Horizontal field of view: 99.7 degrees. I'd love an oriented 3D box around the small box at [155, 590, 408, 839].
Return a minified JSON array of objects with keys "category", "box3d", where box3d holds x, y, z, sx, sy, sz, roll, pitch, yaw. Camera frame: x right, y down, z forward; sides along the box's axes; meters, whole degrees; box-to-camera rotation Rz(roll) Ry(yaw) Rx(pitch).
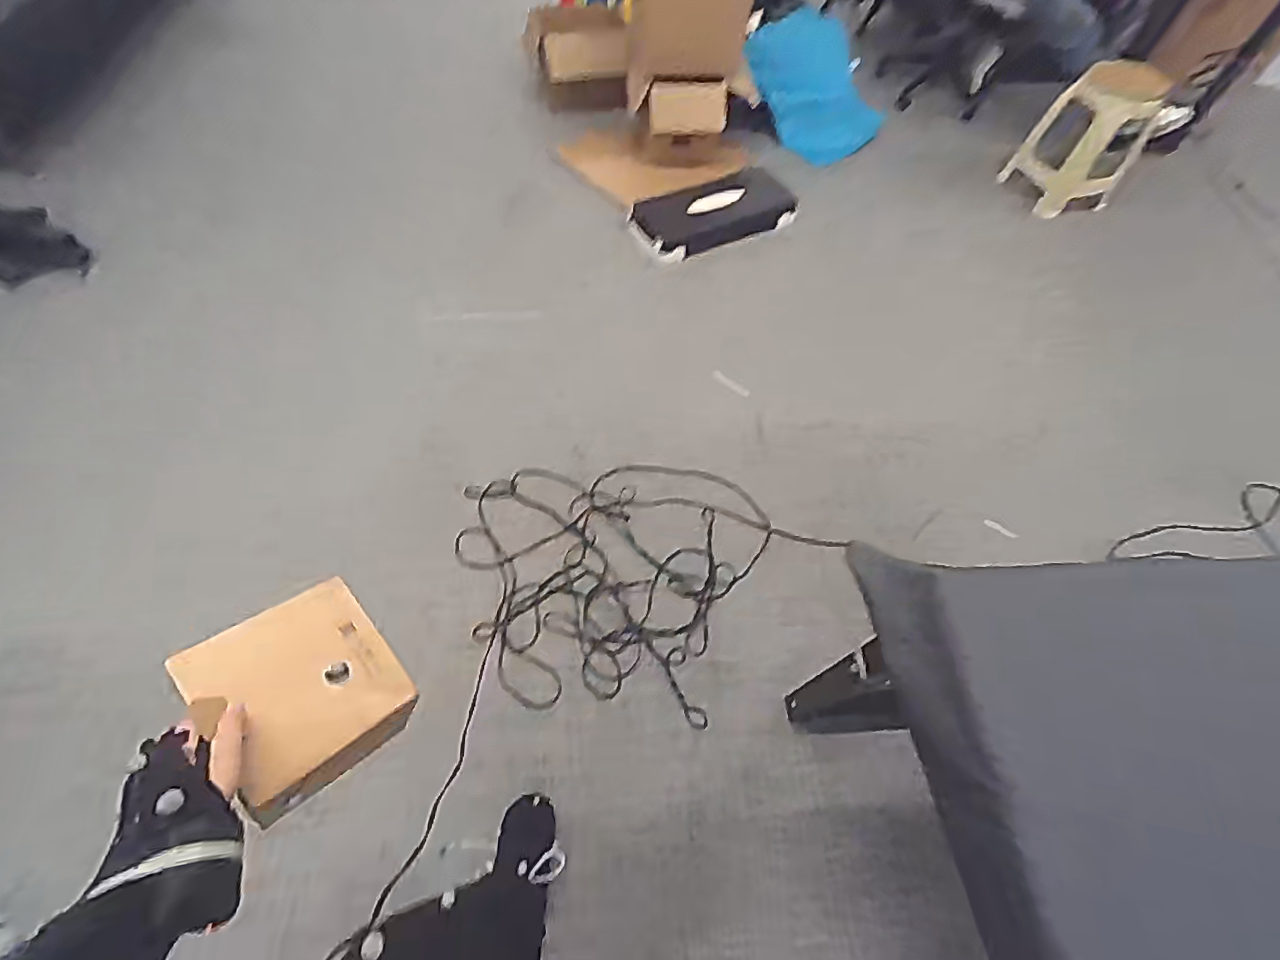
[{"category":"small box","box3d":[-0.382,0.257,0.603,0.168,0.179,0.176,47,47,11]}]
